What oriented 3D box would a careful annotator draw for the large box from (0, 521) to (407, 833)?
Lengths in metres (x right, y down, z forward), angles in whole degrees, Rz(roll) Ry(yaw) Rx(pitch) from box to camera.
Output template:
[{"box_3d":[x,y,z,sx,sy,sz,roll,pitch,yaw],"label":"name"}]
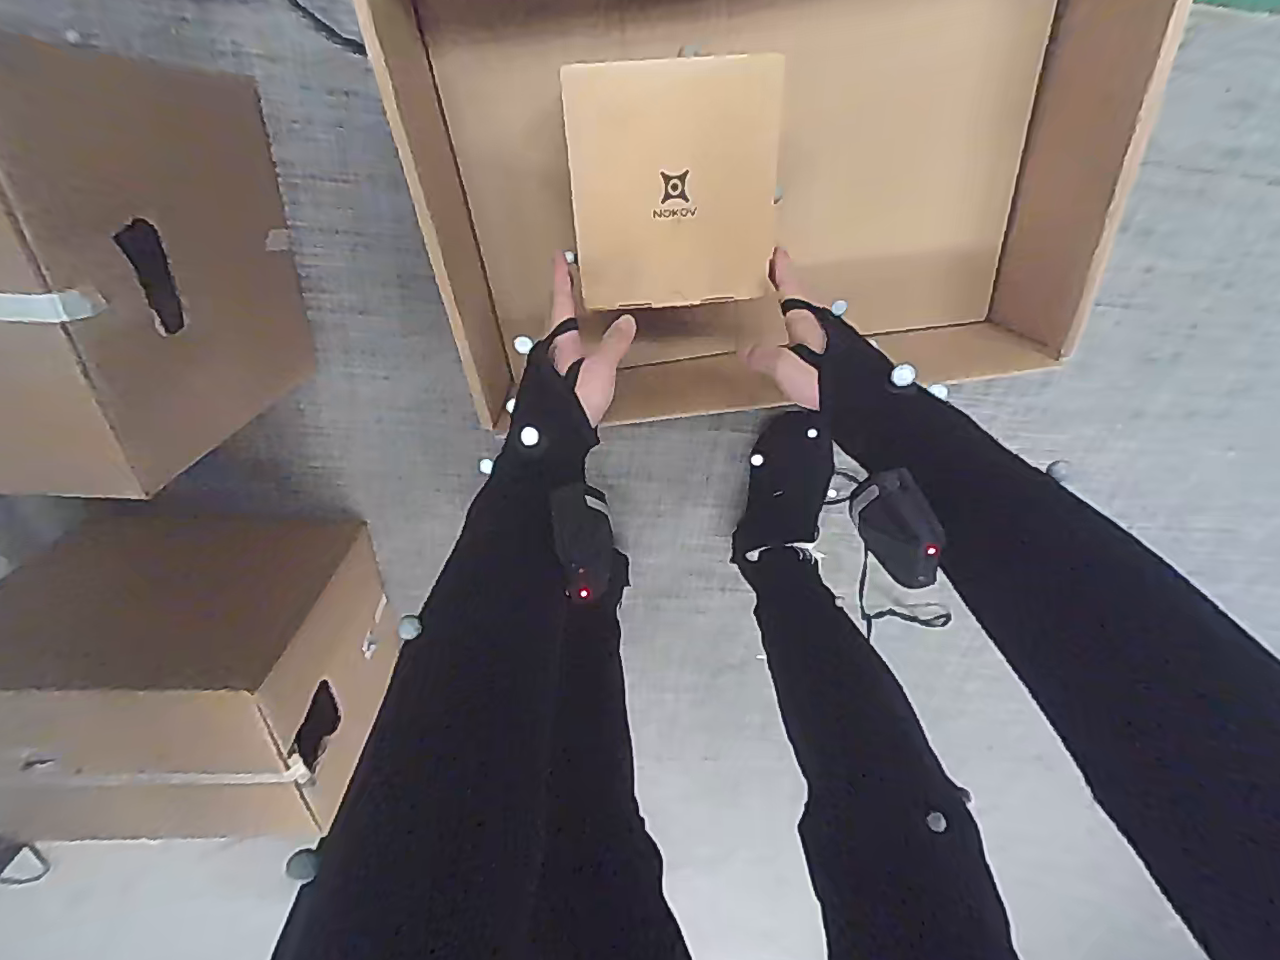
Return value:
[{"box_3d":[-0.613,0.267,0.778,0.408,0.320,0.320,1,120,-2],"label":"large box"}]
